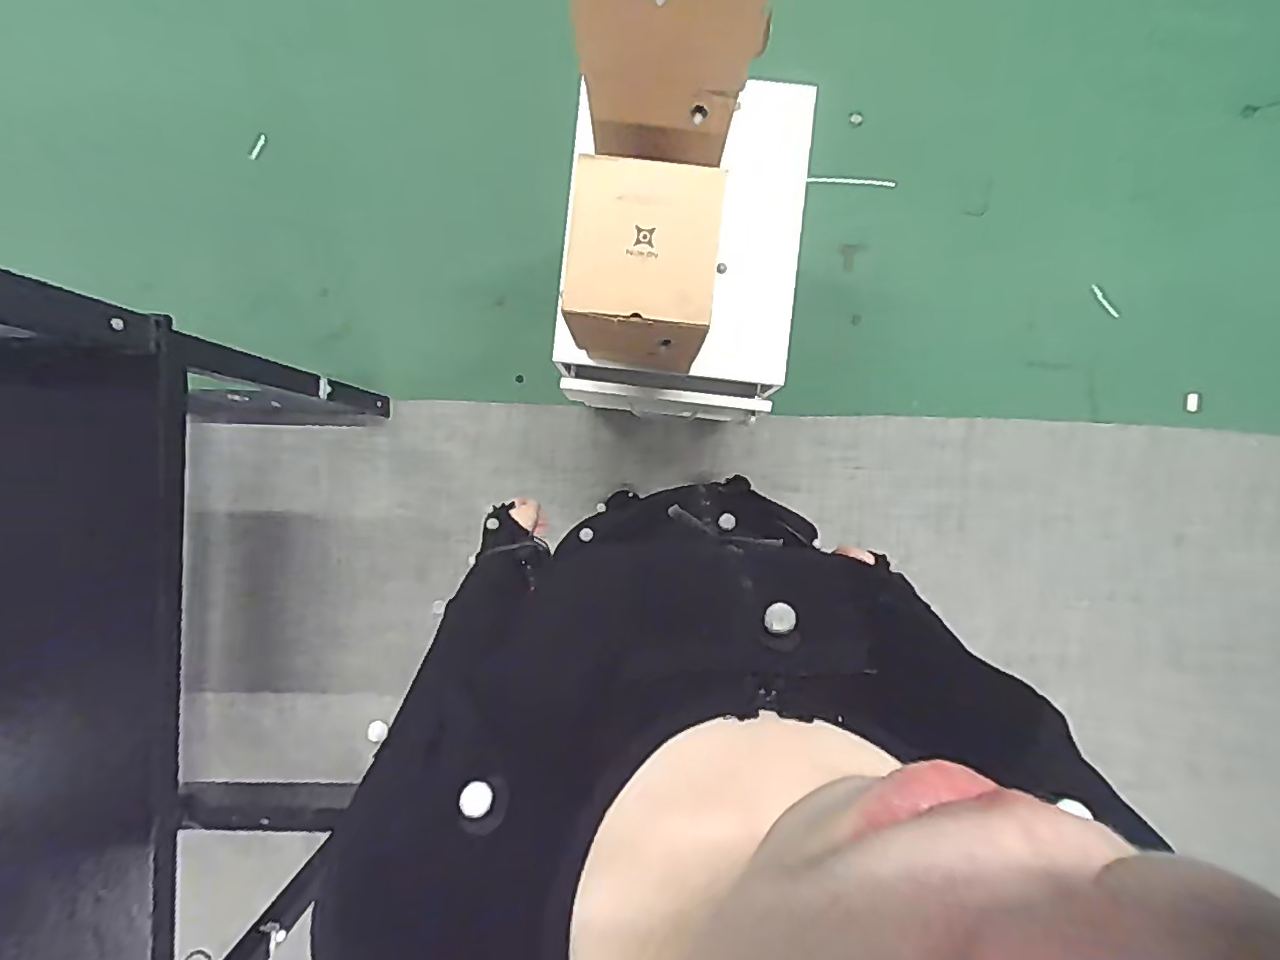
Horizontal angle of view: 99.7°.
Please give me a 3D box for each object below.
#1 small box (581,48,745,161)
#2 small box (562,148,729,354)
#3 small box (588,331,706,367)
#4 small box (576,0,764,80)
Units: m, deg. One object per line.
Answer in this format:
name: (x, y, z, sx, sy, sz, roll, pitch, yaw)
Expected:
small box: (0.035, -0.508, 0.650, 0.179, 0.176, 0.168, 9, 90, -1)
small box: (0.006, -0.258, 0.652, 0.168, 0.176, 0.179, 5, 90, -1)
small box: (0.014, -0.277, 0.812, 0.179, 0.176, 0.168, 9, 89, -1)
small box: (0.030, -0.501, 0.486, 0.179, 0.176, 0.168, 2, 91, -1)
